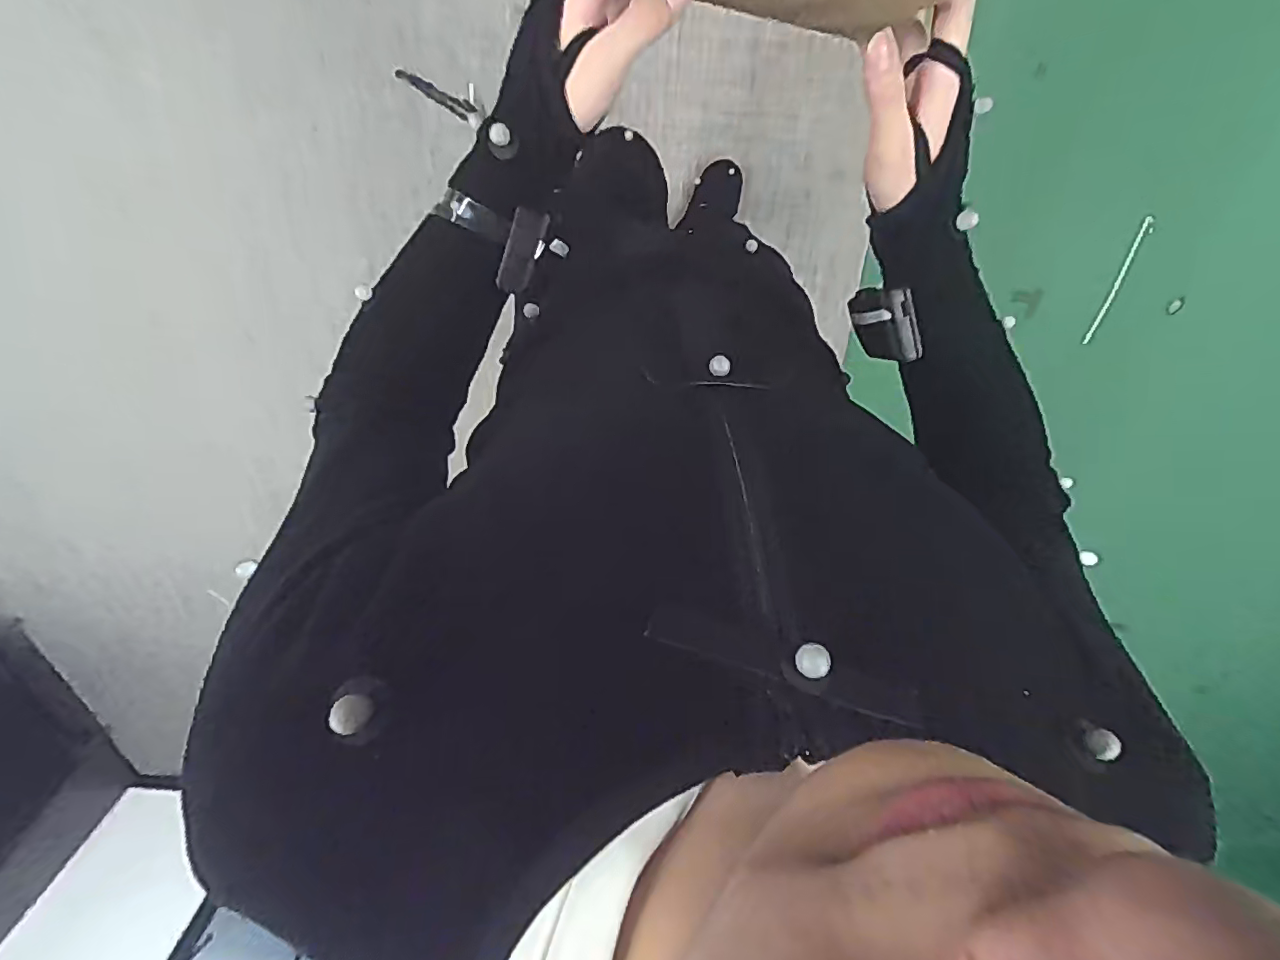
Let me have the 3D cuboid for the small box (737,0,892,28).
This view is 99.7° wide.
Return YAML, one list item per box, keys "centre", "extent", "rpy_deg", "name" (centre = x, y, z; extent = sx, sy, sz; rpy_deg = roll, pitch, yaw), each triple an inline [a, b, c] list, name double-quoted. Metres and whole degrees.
- centre: [0.096, -0.374, 0.287]
  extent: [0.179, 0.176, 0.168]
  rpy_deg: [8, 120, -7]
  name: "small box"
